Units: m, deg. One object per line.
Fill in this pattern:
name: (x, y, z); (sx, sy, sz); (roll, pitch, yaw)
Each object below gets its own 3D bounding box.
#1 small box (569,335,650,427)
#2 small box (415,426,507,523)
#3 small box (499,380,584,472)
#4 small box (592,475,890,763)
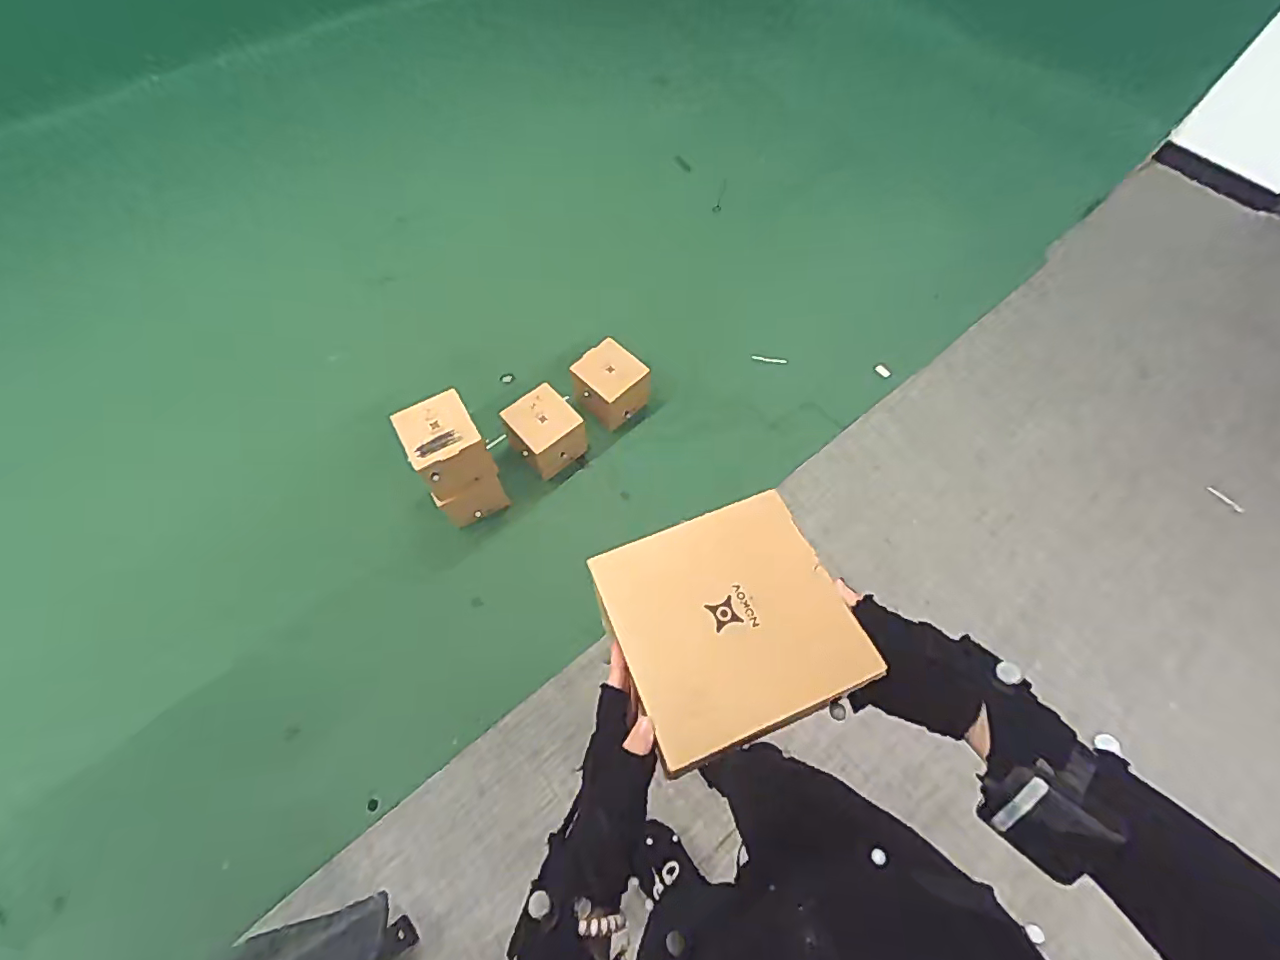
small box: (-0.091, -0.292, 1.628); (0.179, 0.176, 0.168); (42, 70, 17)
small box: (-0.481, -0.011, 1.472); (0.168, 0.176, 0.179); (-26, 69, -13)
small box: (-0.273, -0.144, 1.545); (0.168, 0.176, 0.179); (-38, 70, -19)
small box: (0.071, 0.128, 0.474); (0.179, 0.176, 0.168); (-19, 61, -12)
